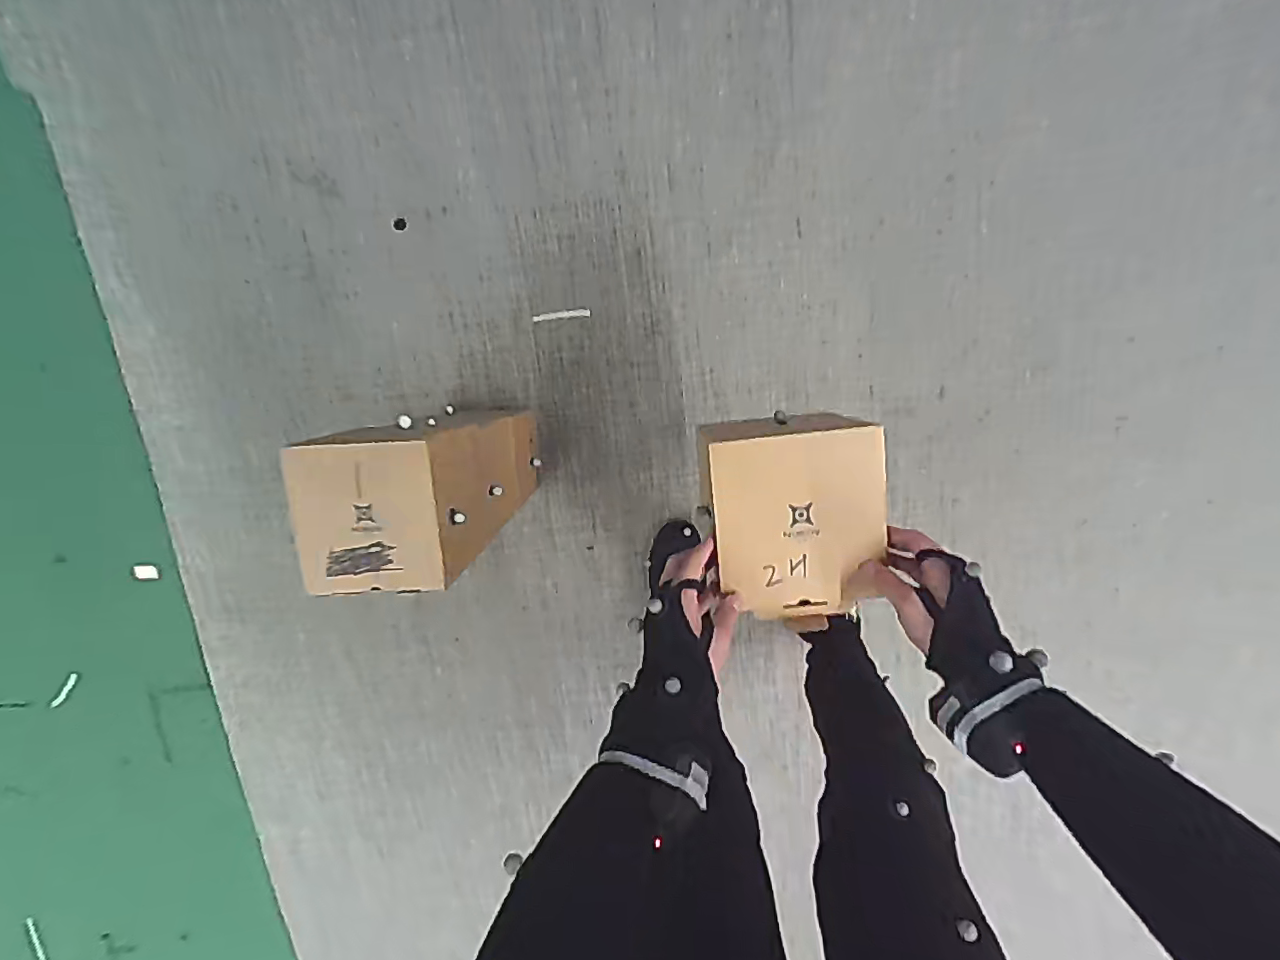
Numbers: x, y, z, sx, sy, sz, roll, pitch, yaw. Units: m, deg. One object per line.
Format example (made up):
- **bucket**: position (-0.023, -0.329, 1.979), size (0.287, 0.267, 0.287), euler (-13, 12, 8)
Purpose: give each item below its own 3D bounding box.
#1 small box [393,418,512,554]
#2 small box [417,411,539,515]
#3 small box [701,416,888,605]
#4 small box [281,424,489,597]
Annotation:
- **small box**: position (-0.302, 0.003, 0.834), size (0.168, 0.176, 0.179), euler (-1, 104, 2)
- **small box**: position (-0.292, -0.036, 0.993), size (0.179, 0.176, 0.168), euler (-1, 103, 1)
- **small box**: position (0.155, 0.022, 0.603), size (0.168, 0.176, 0.179), euler (1, 103, 4)
- **small box**: position (-0.297, 0.029, 0.671), size (0.168, 0.176, 0.179), euler (-2, 102, 2)
